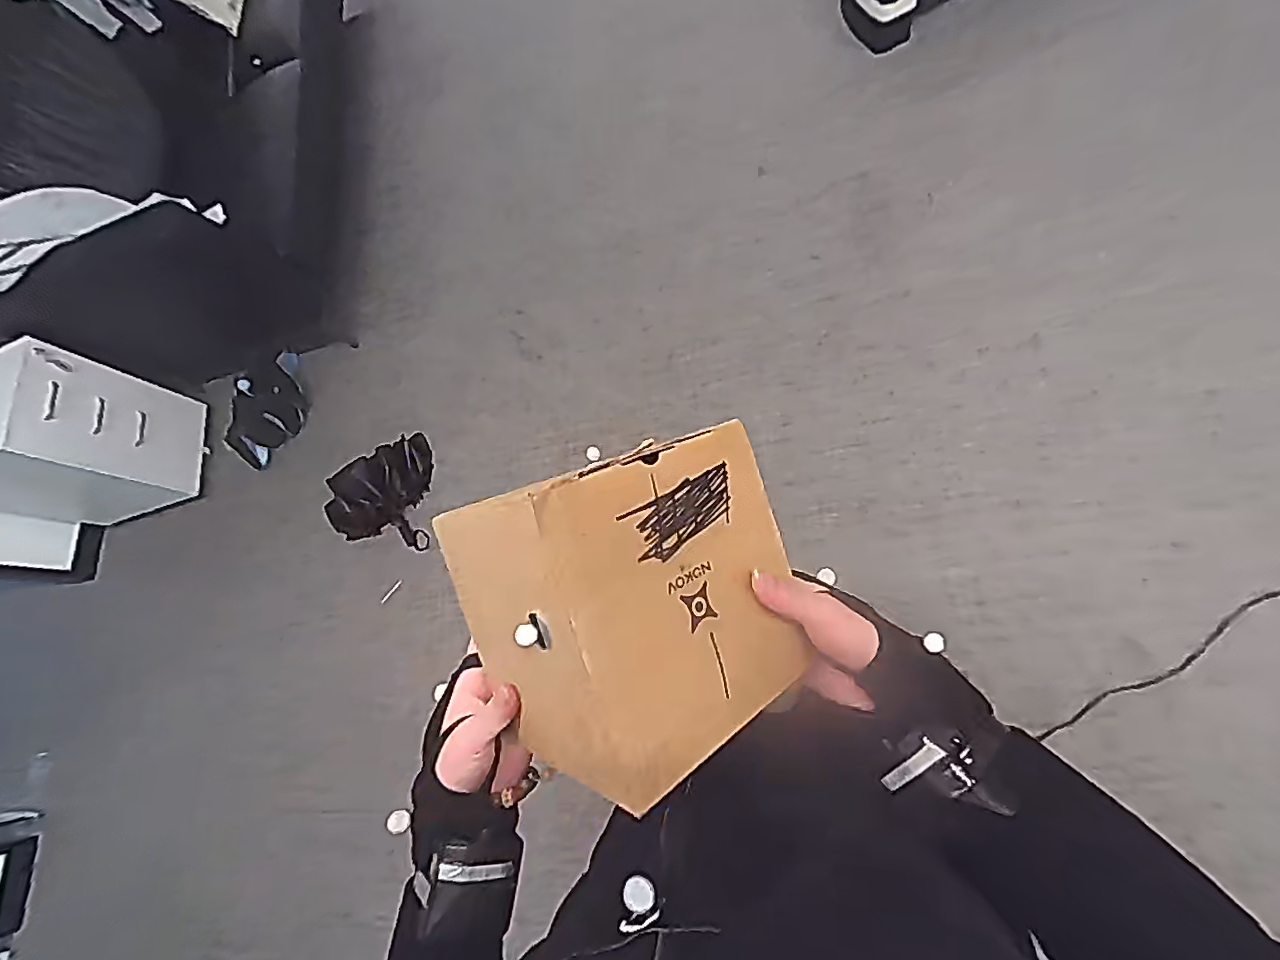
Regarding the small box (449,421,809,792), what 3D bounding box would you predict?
[{"bbox_3d":[-0.016,0.074,0.388,0.176,0.168,0.179,-13,95,54],"label":"small box"}]
